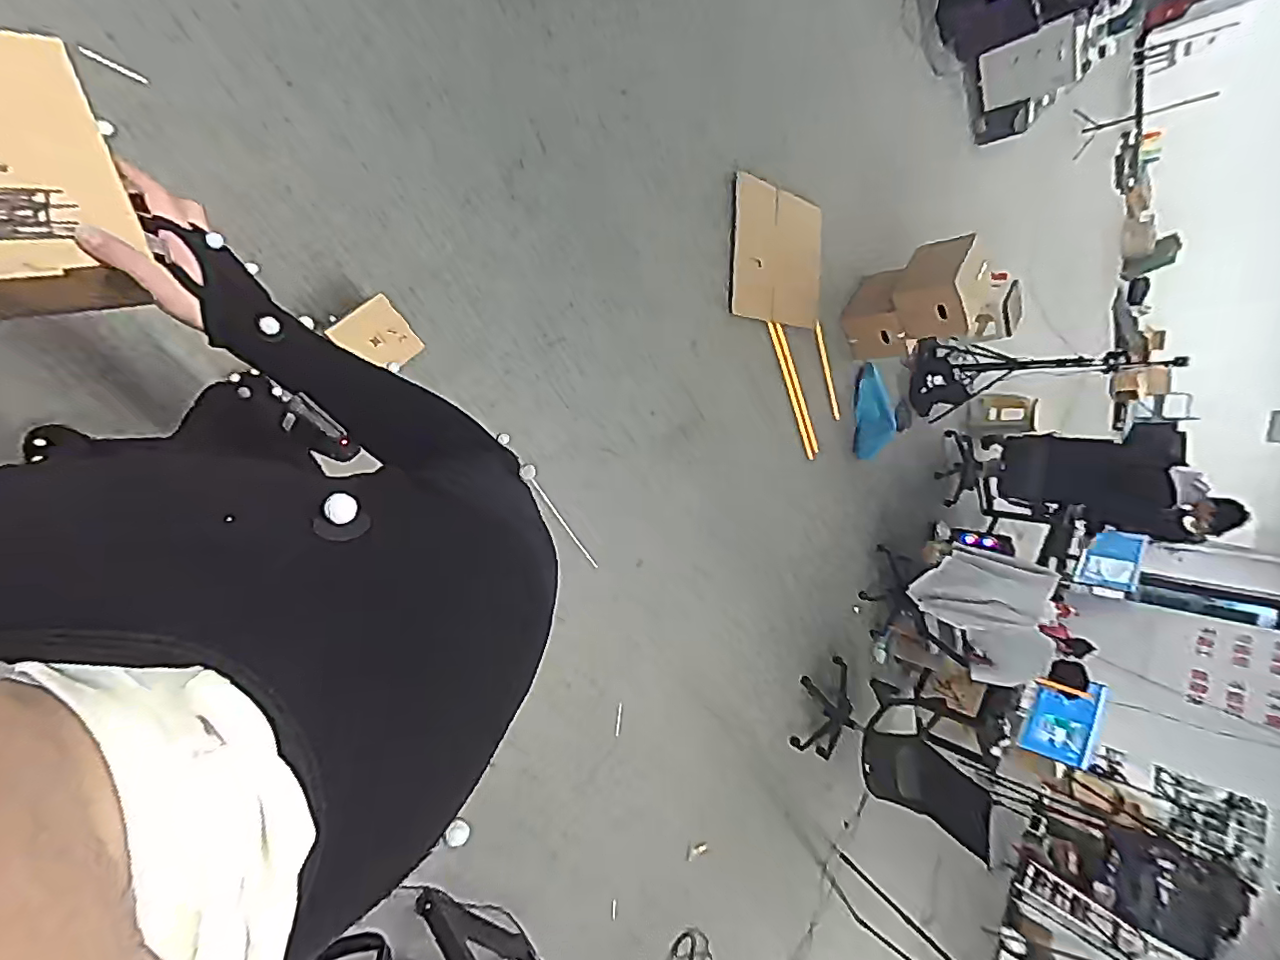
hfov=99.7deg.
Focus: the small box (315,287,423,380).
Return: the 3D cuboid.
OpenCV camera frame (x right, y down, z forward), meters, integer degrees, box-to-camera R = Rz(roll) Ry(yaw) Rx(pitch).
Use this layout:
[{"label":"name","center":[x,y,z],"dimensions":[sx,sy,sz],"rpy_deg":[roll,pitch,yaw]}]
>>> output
[{"label":"small box","center":[-0.710,-0.374,1.406],"dimensions":[0.179,0.176,0.168],"rpy_deg":[-50,126,-25]}]
